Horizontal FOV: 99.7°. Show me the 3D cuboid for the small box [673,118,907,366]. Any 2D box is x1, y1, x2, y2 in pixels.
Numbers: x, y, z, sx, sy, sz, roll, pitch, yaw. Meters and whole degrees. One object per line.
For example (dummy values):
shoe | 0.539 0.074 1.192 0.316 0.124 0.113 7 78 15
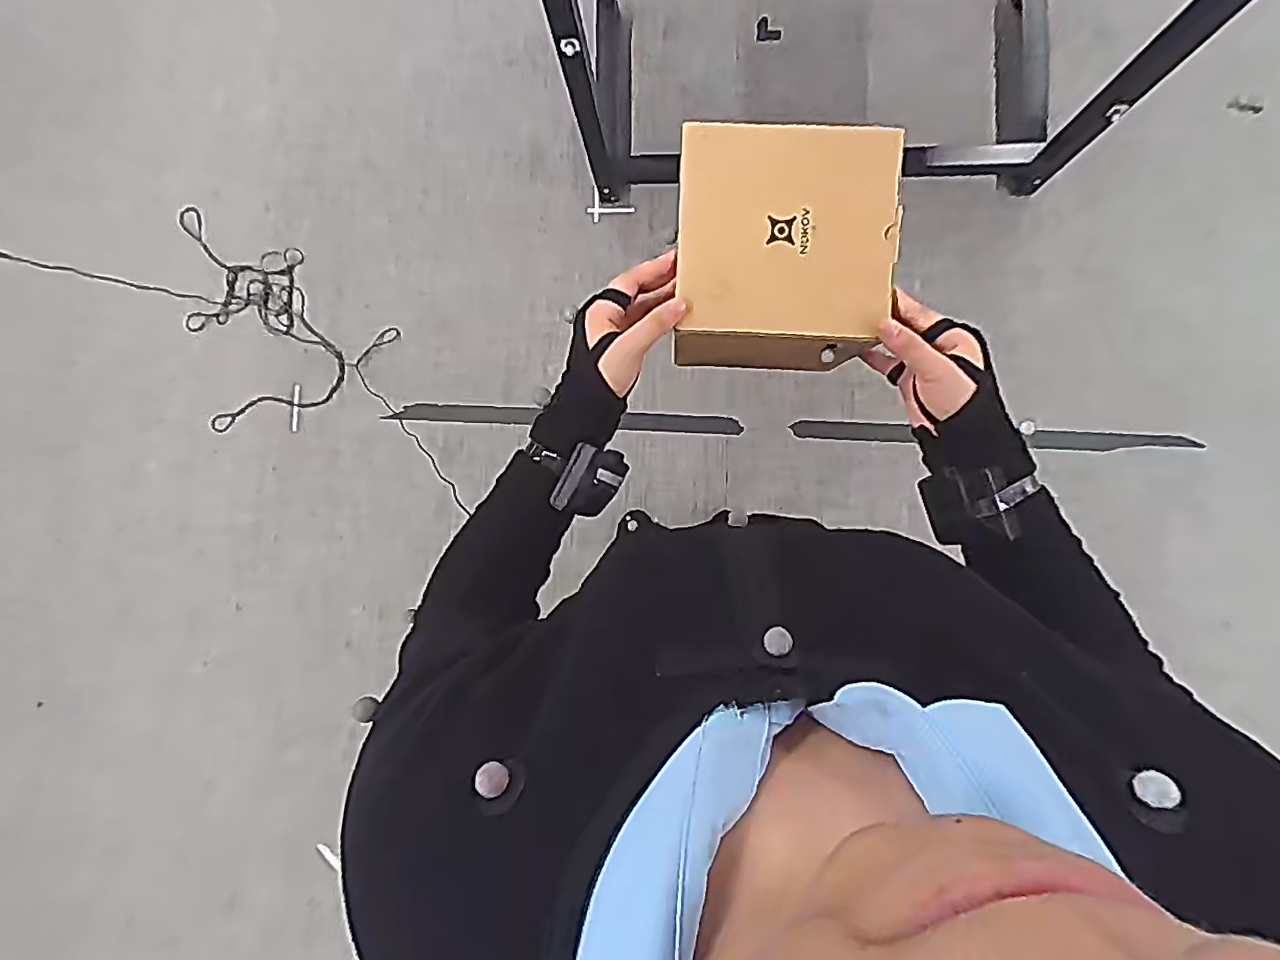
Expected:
small box | 0.123 -0.205 0.510 0.179 0.176 0.168 3 92 2
